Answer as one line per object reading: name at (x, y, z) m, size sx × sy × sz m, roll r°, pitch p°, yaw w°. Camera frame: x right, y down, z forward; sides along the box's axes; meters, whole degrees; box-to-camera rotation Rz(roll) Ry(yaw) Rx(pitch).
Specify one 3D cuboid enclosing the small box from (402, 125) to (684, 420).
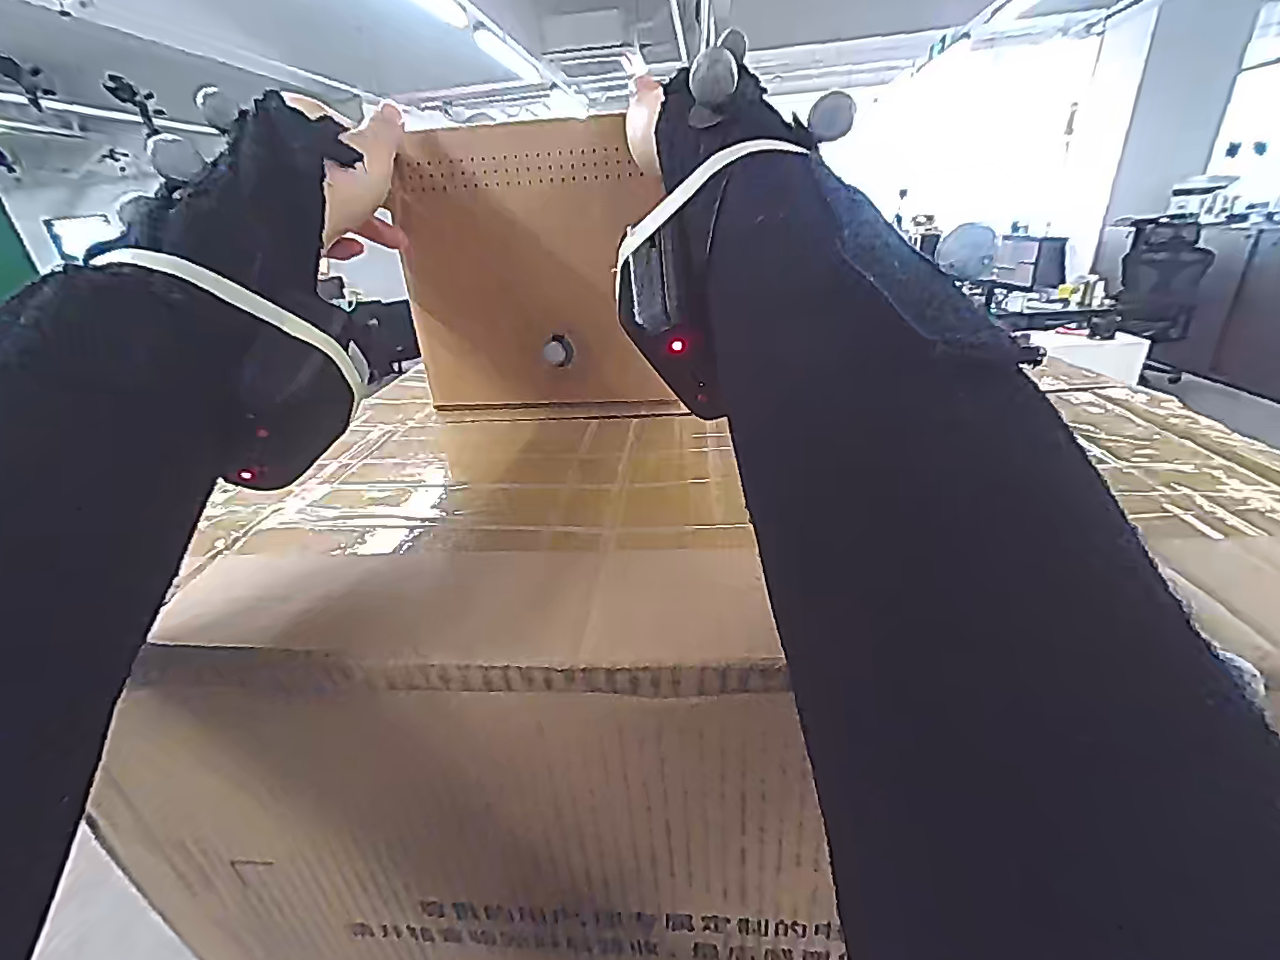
small box at (-0.056, -0.152, 0.410) m, size 0.179 × 0.176 × 0.168 m, roll -1°, pitch 26°, yaw 7°
